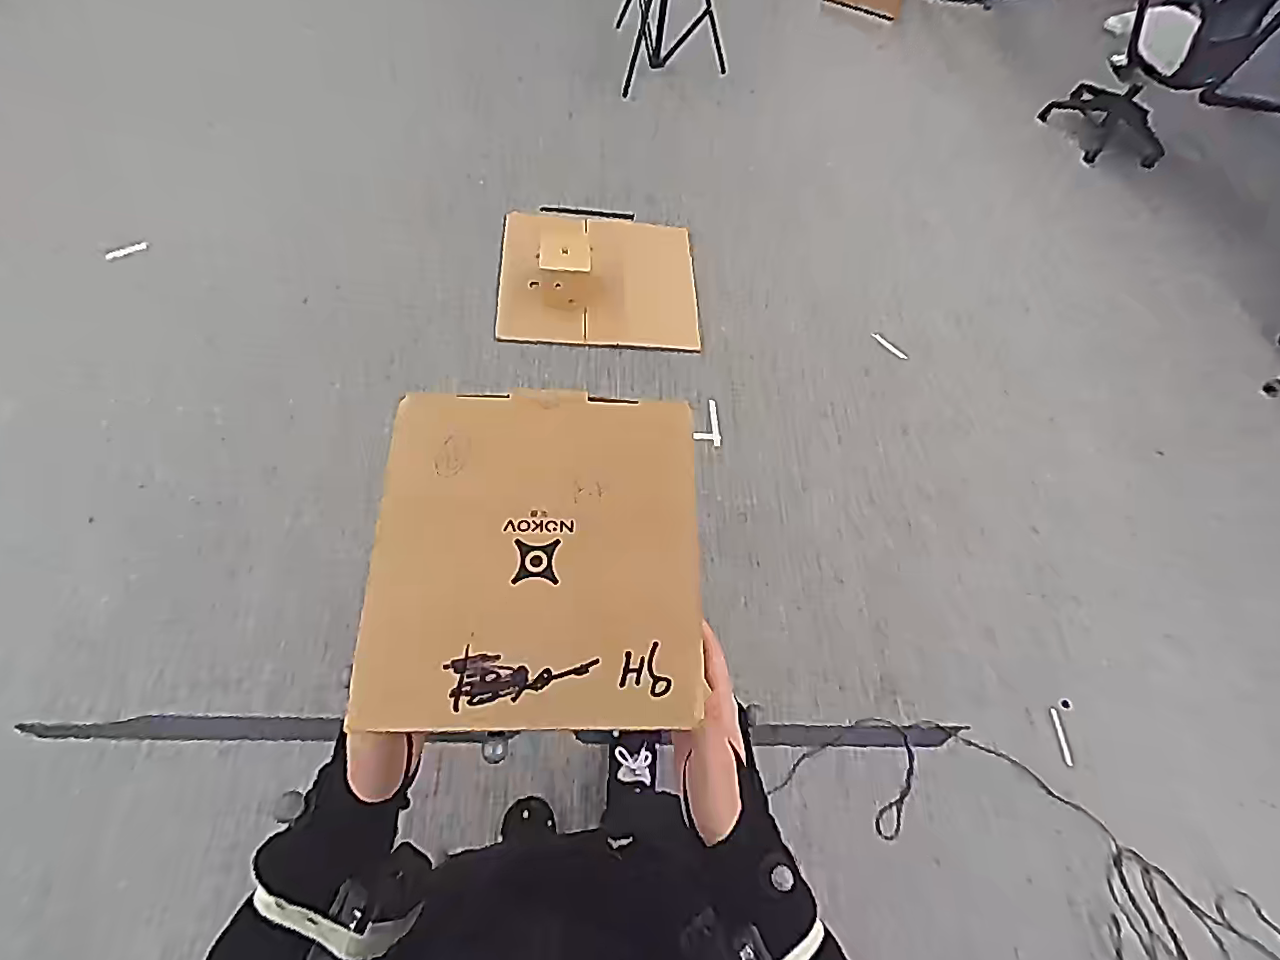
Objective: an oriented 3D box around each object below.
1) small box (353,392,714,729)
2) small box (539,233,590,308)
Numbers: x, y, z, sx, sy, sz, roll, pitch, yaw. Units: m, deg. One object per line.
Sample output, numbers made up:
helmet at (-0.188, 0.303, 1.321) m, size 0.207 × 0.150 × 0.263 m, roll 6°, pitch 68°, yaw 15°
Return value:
small box at (-0.051, 0.062, 0.349) m, size 0.168 × 0.176 × 0.179 m, roll 0°, pitch 68°, yaw -2°
small box at (-0.254, -0.705, 1.831) m, size 0.168 × 0.176 × 0.179 m, roll -1°, pitch 64°, yaw -9°
